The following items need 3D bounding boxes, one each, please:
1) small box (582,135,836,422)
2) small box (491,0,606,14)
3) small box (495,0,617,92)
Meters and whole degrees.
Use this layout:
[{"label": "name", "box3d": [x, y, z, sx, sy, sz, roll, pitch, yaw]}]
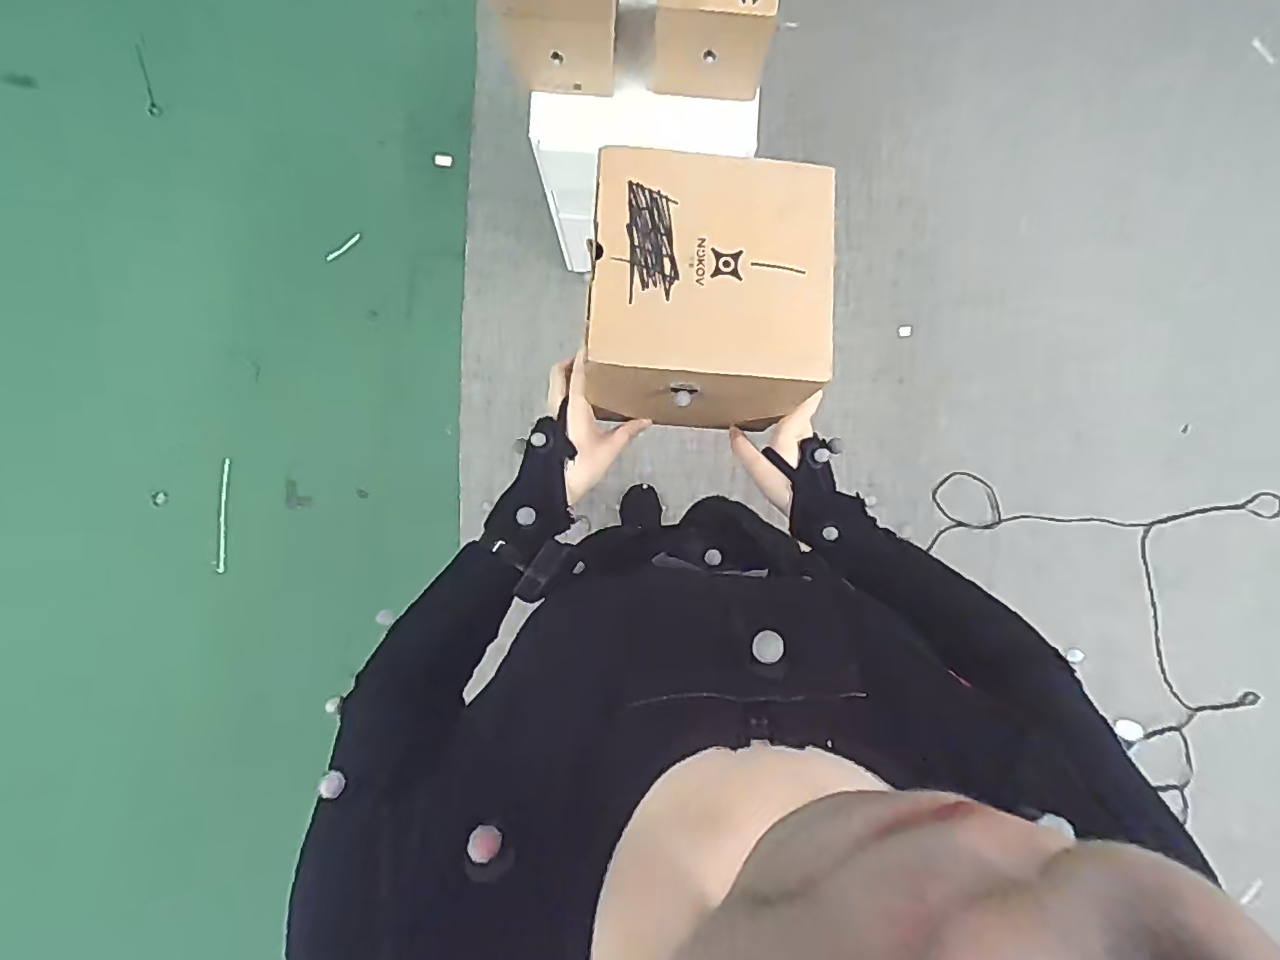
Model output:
[{"label": "small box", "box3d": [0.046, -0.151, 0.461, 0.179, 0.176, 0.168, 4, 83, -4]}, {"label": "small box", "box3d": [-0.119, -0.742, 0.686, 0.179, 0.176, 0.168, 2, 87, -1]}, {"label": "small box", "box3d": [-0.122, -0.753, 0.848, 0.168, 0.176, 0.179, 4, 88, -2]}]
